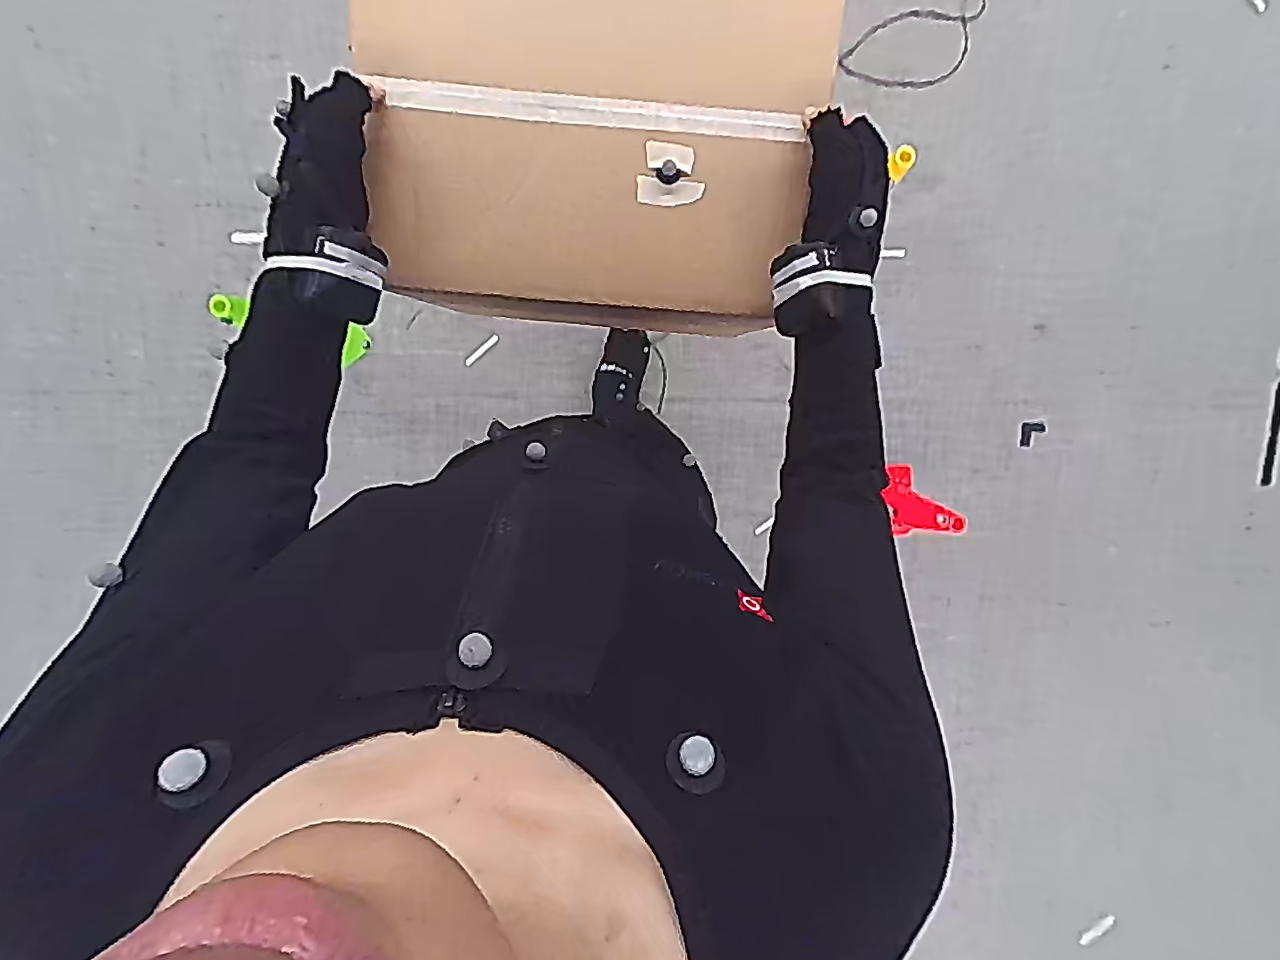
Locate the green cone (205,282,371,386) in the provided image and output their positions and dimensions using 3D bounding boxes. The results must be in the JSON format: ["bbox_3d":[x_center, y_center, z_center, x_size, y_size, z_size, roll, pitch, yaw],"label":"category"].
[{"bbox_3d":[-0.805,-0.351,1.198,0.202,0.368,0.200,-36,96,3],"label":"green cone"}]

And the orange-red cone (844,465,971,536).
[{"bbox_3d":[0.669,0.070,1.316,0.198,0.360,0.199,-2,94,-4],"label":"orange-red cone"}]

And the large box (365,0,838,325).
[{"bbox_3d":[-0.042,-0.356,0.614,0.408,0.320,0.320,4,102,-3],"label":"large box"}]
